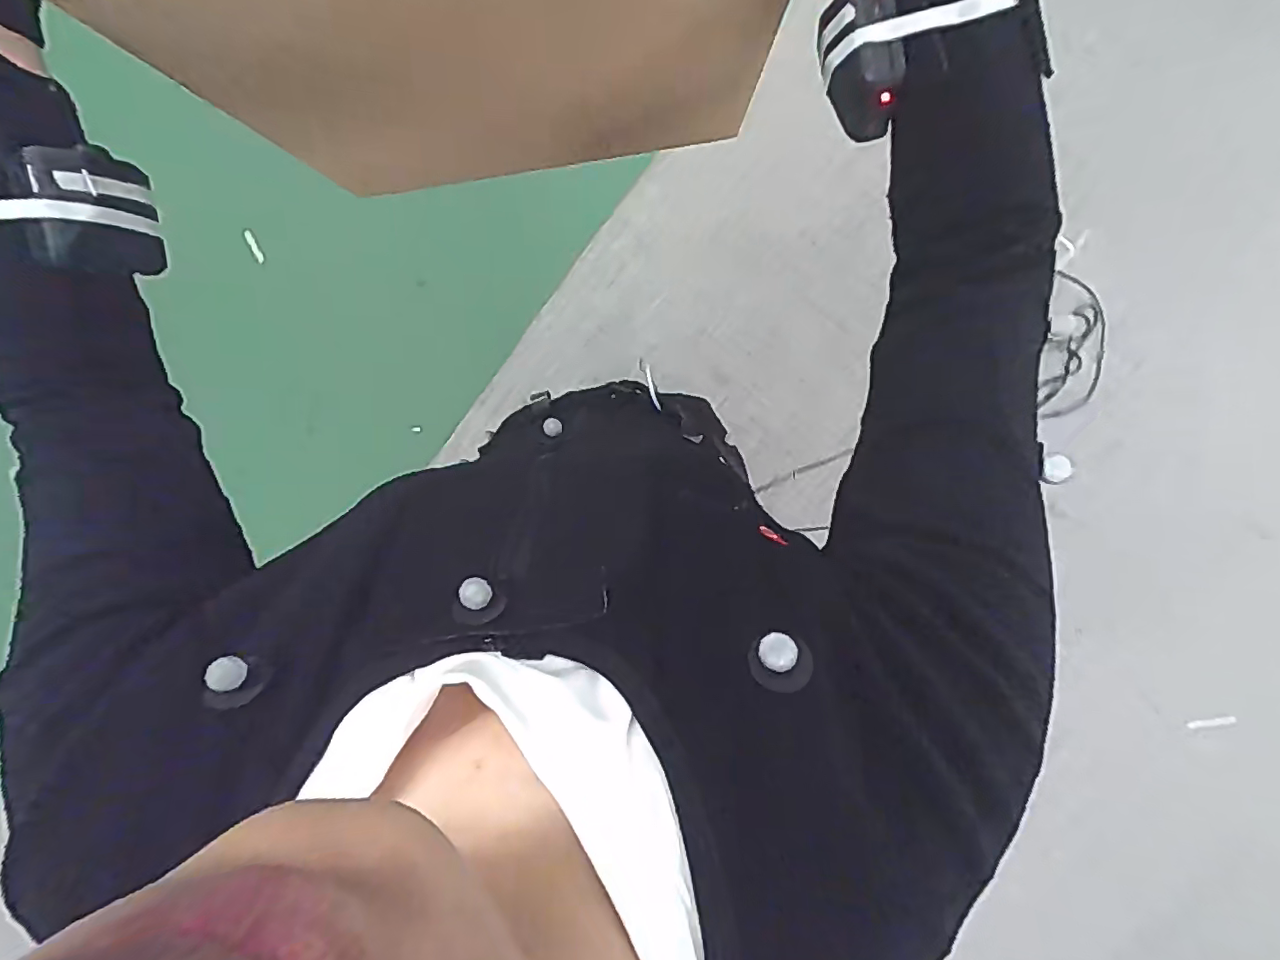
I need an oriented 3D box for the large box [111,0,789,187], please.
[{"bbox_3d":[-0.113,-0.451,0.386,0.408,0.320,0.320,-8,101,1],"label":"large box"}]
